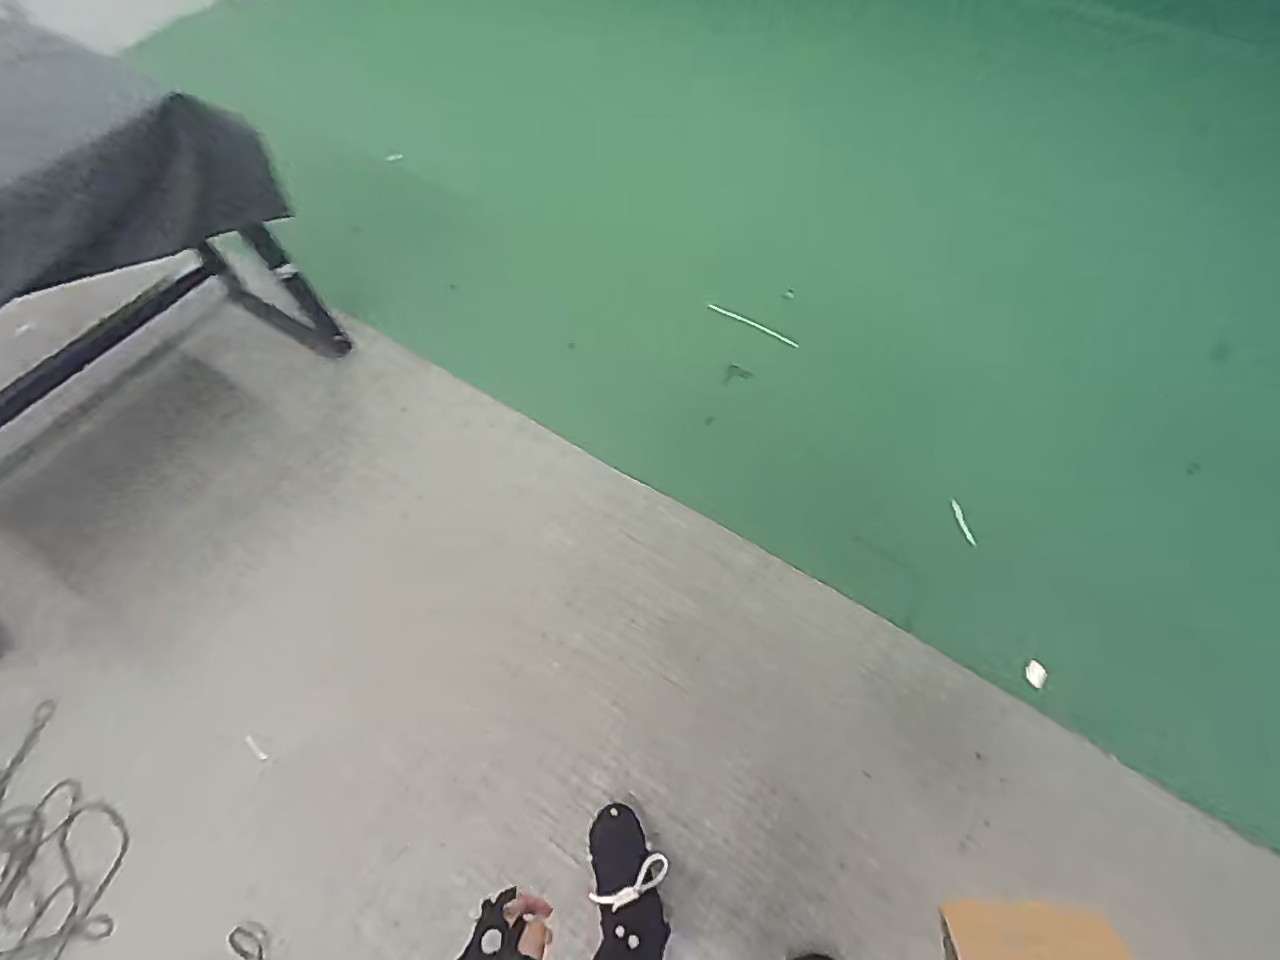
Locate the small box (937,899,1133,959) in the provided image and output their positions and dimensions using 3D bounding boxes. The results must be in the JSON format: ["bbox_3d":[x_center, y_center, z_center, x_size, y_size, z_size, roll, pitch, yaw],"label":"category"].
[{"bbox_3d":[0.418,0.571,0.540,0.168,0.179,0.176,-8,101,13],"label":"small box"}]
